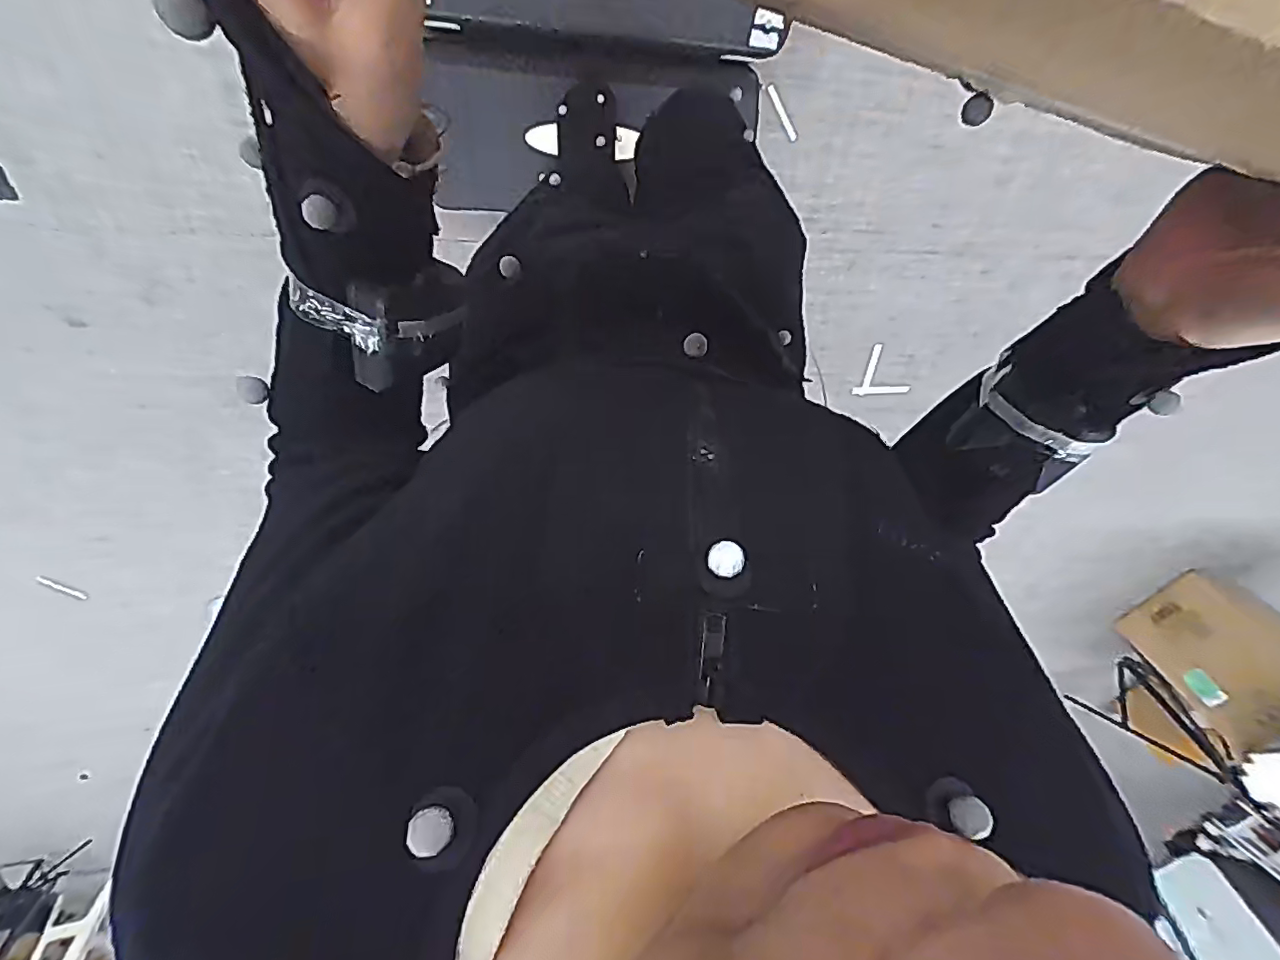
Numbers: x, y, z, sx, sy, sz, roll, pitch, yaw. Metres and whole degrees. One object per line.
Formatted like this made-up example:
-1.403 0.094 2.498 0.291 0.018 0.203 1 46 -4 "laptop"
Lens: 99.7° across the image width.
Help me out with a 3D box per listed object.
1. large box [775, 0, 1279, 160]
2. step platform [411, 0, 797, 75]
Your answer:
0.115 -0.274 0.086 0.408 0.320 0.320 11 132 -7 "large box"
-0.064 -0.886 0.867 0.684 0.204 0.286 3 128 -12 "step platform"
